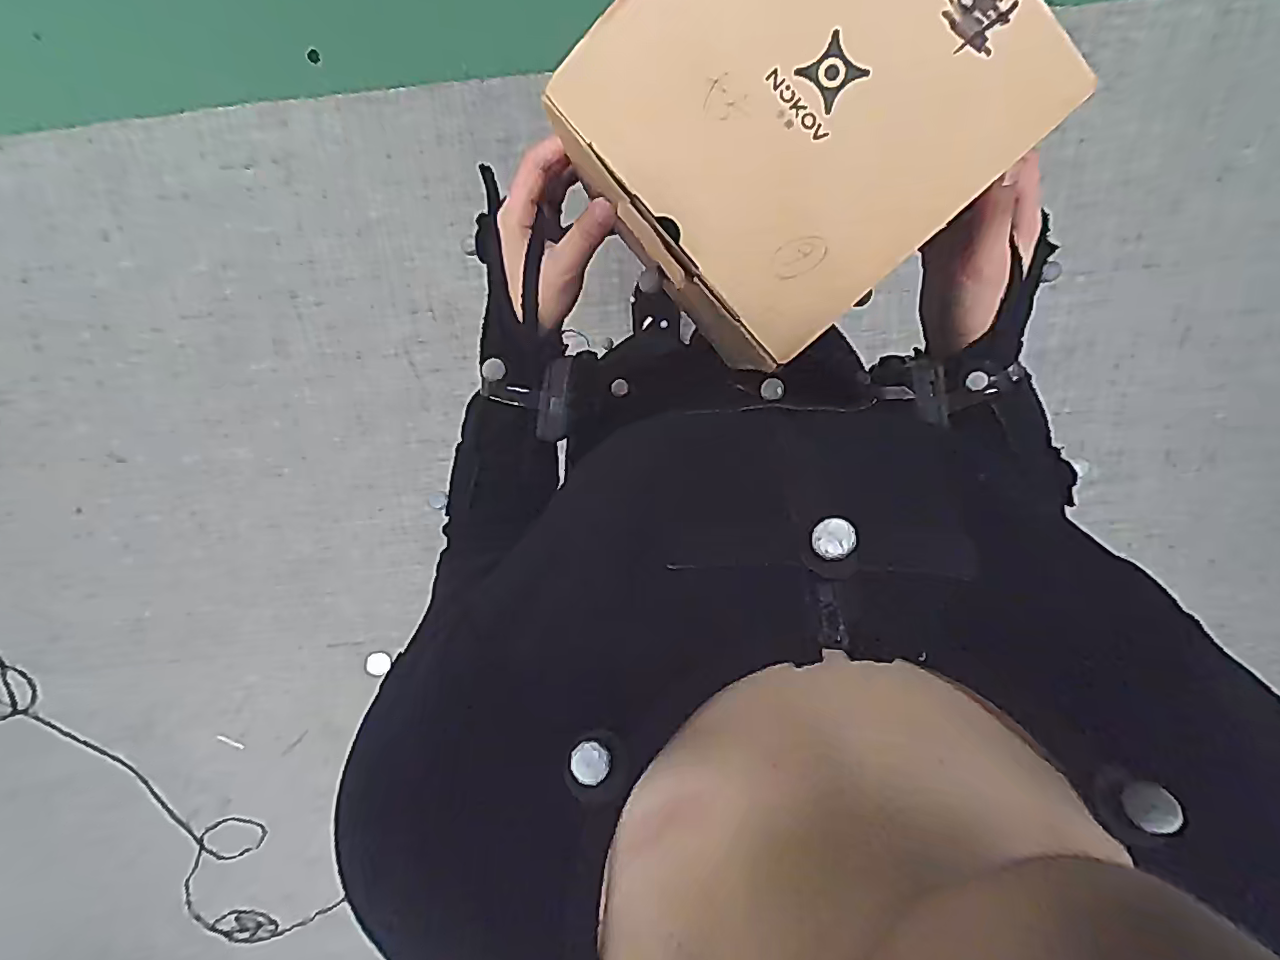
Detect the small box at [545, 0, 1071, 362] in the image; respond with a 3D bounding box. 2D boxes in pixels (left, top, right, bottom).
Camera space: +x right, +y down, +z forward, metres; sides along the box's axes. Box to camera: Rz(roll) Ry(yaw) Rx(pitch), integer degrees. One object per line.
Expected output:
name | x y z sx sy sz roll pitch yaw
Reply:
small box | 0.077 -0.187 0.319 0.179 0.176 0.168 -42 97 11
